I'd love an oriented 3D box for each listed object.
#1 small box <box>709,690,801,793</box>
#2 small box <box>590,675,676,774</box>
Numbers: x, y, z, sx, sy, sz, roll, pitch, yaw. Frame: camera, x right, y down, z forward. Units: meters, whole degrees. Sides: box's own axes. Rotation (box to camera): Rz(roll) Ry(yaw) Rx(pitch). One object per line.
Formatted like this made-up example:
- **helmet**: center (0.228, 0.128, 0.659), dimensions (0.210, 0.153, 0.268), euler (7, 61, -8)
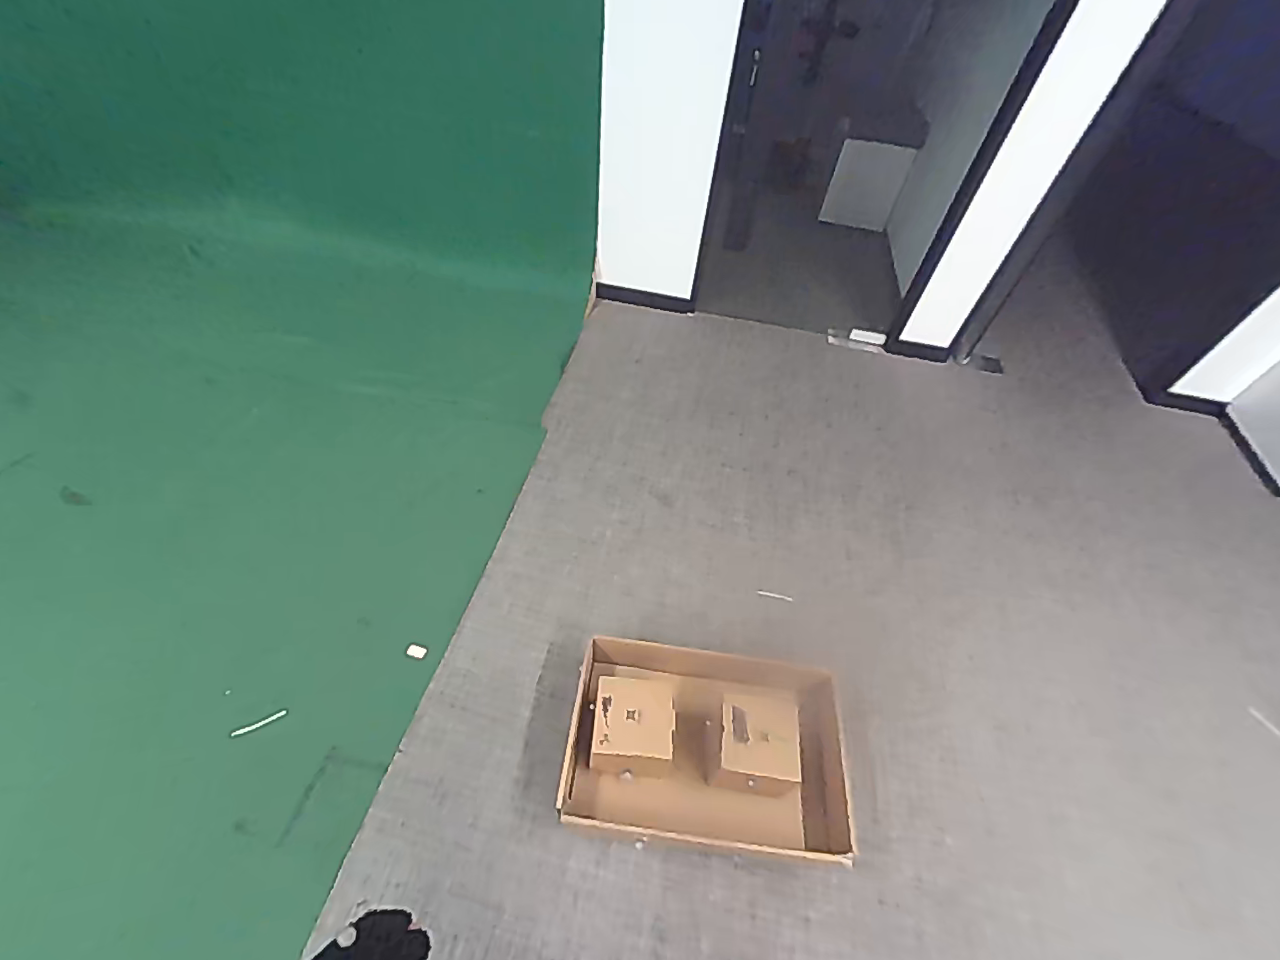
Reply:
- **small box**: center (0.261, 0.612, 1.258), dimensions (0.179, 0.176, 0.168), euler (9, 50, 2)
- **small box**: center (-0.017, 0.573, 1.259), dimensions (0.179, 0.176, 0.168), euler (7, 49, -3)
